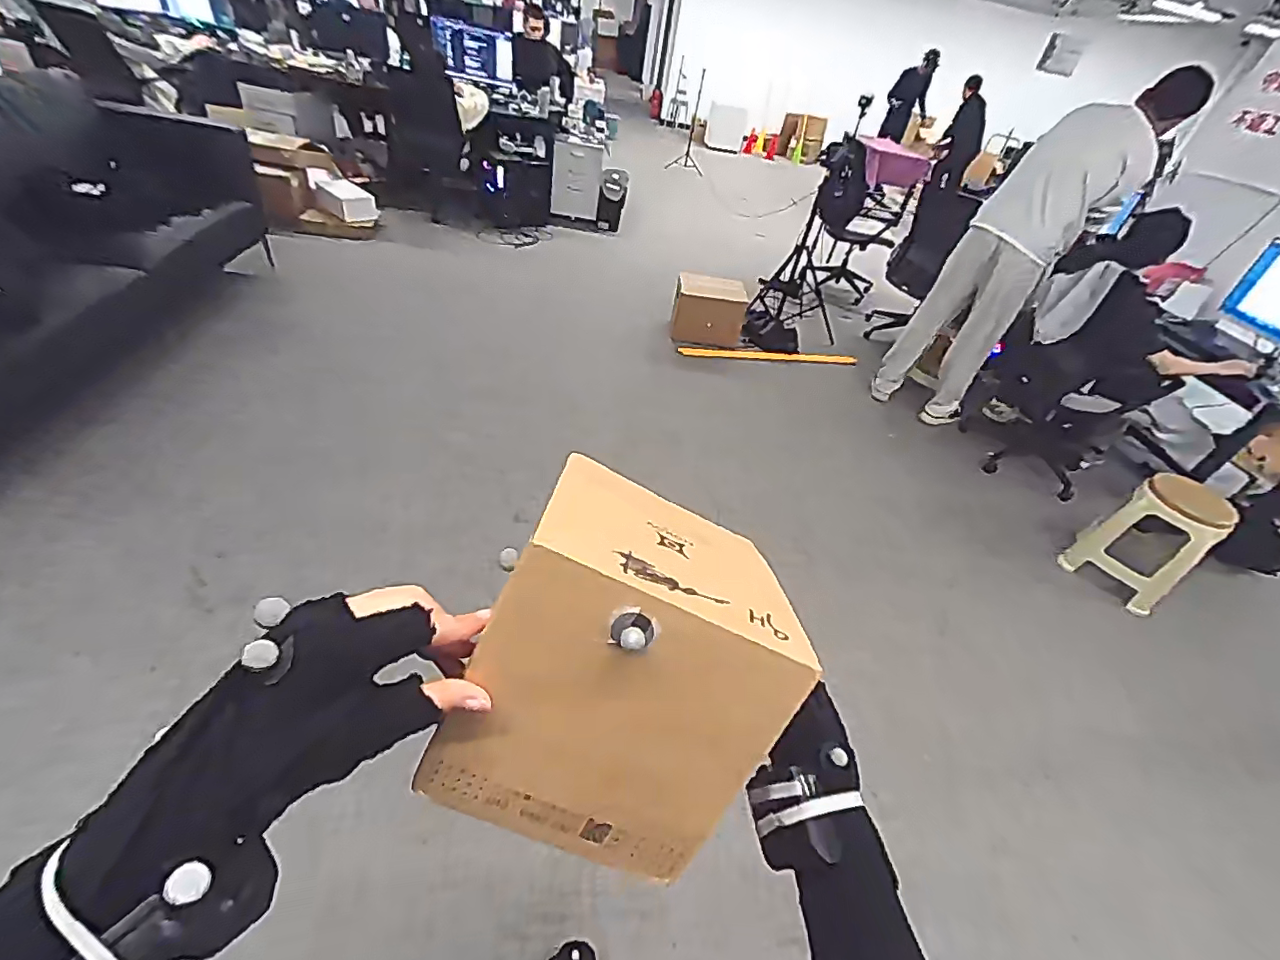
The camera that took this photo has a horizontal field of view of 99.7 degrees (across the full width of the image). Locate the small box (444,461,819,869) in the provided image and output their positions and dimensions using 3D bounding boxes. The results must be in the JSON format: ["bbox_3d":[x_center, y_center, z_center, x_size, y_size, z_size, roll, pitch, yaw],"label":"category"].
[{"bbox_3d":[-0.013,0.112,0.380,0.168,0.176,0.179,26,14,-8],"label":"small box"}]
